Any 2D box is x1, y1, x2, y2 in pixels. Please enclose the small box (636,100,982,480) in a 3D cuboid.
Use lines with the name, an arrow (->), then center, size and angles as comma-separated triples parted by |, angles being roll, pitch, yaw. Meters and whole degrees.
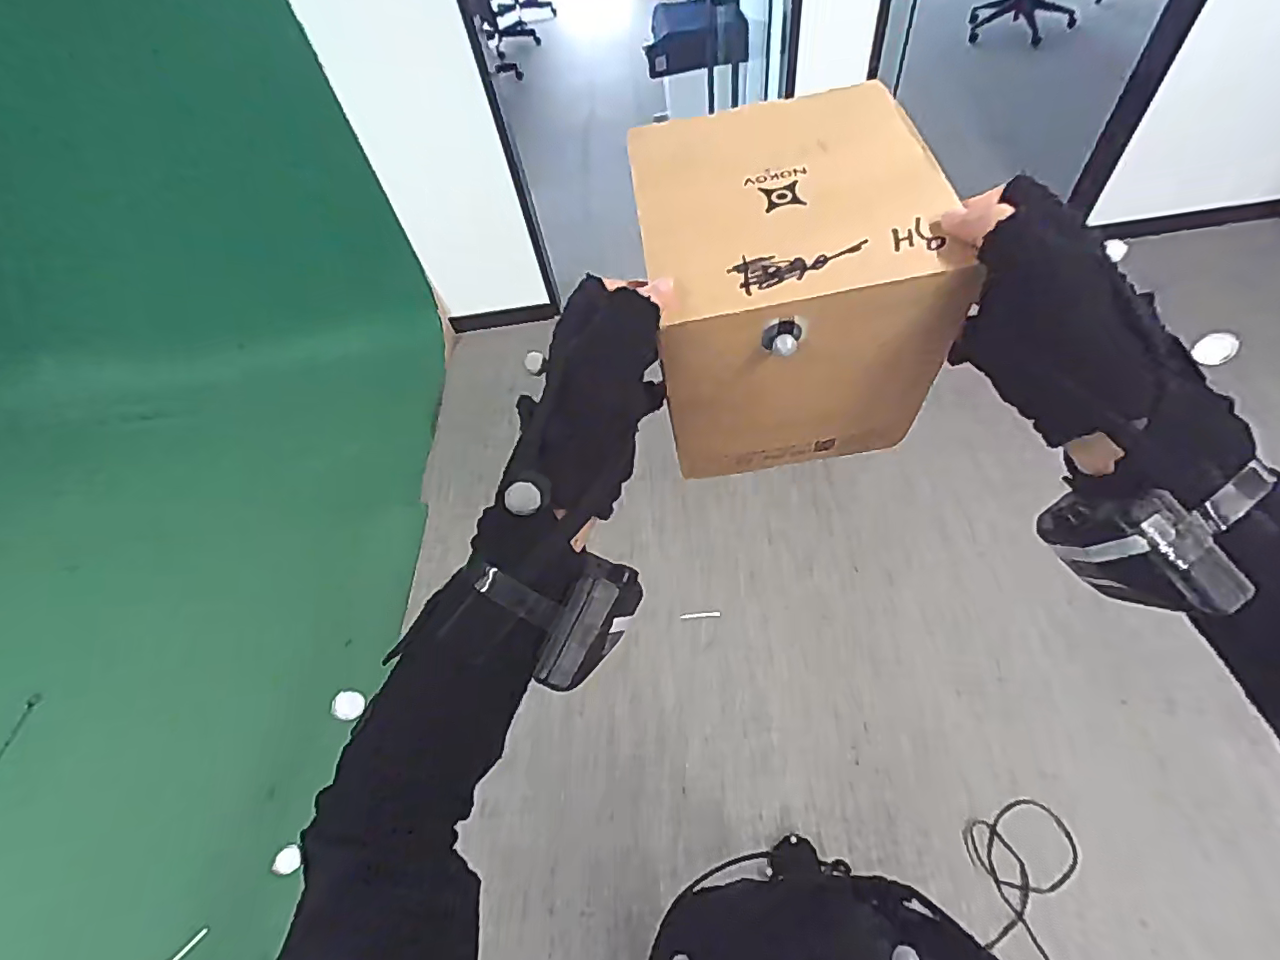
small box -> 0.094, -0.123, 0.384 | 0.168, 0.176, 0.179 | -9, 59, 6
